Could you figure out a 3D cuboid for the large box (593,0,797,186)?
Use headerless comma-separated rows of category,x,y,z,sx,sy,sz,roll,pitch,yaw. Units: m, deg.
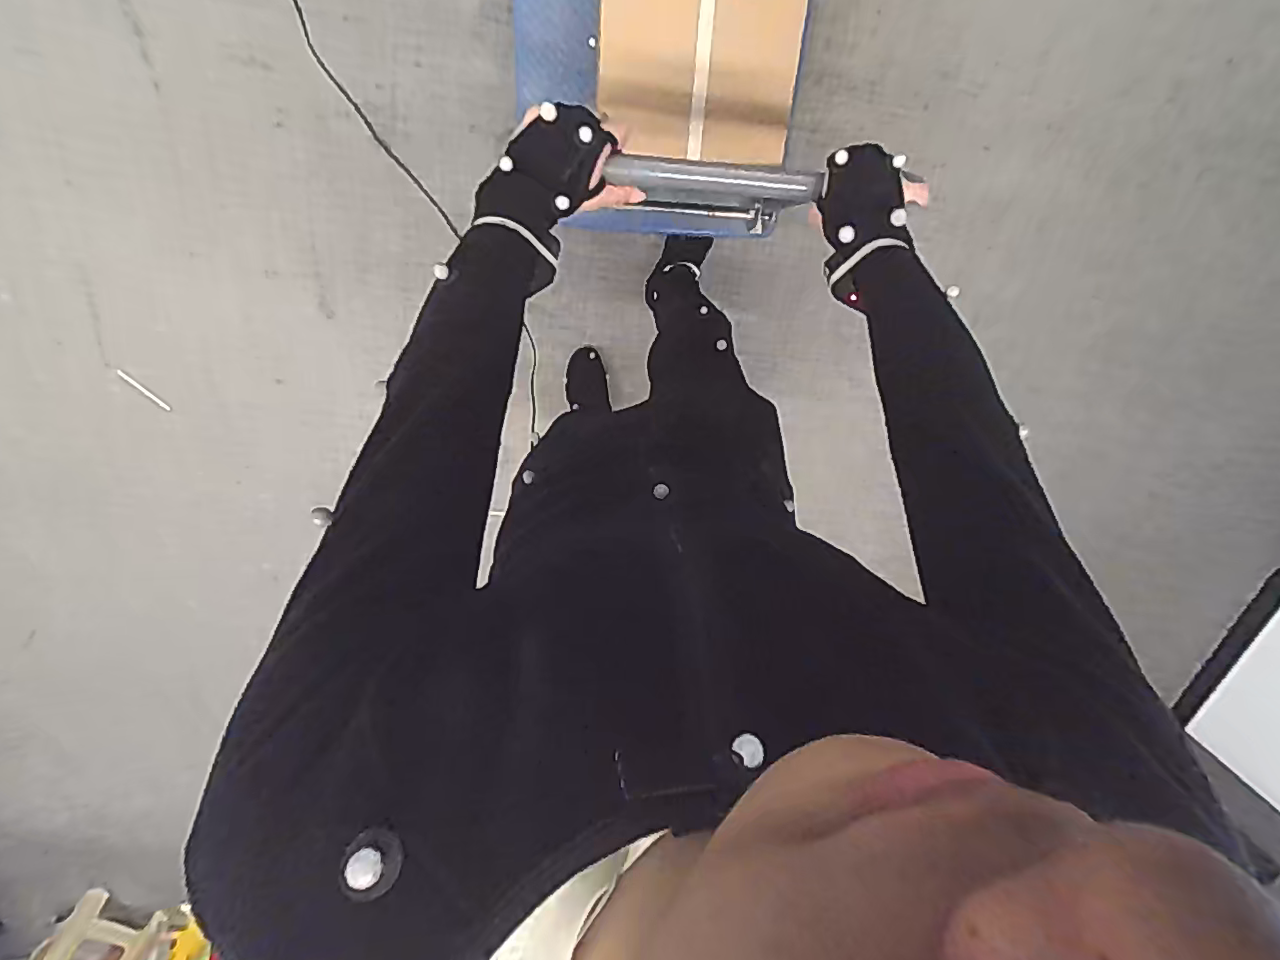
large box,0.075,-0.765,0.960,0.320,0.320,0.408,1,114,-7
